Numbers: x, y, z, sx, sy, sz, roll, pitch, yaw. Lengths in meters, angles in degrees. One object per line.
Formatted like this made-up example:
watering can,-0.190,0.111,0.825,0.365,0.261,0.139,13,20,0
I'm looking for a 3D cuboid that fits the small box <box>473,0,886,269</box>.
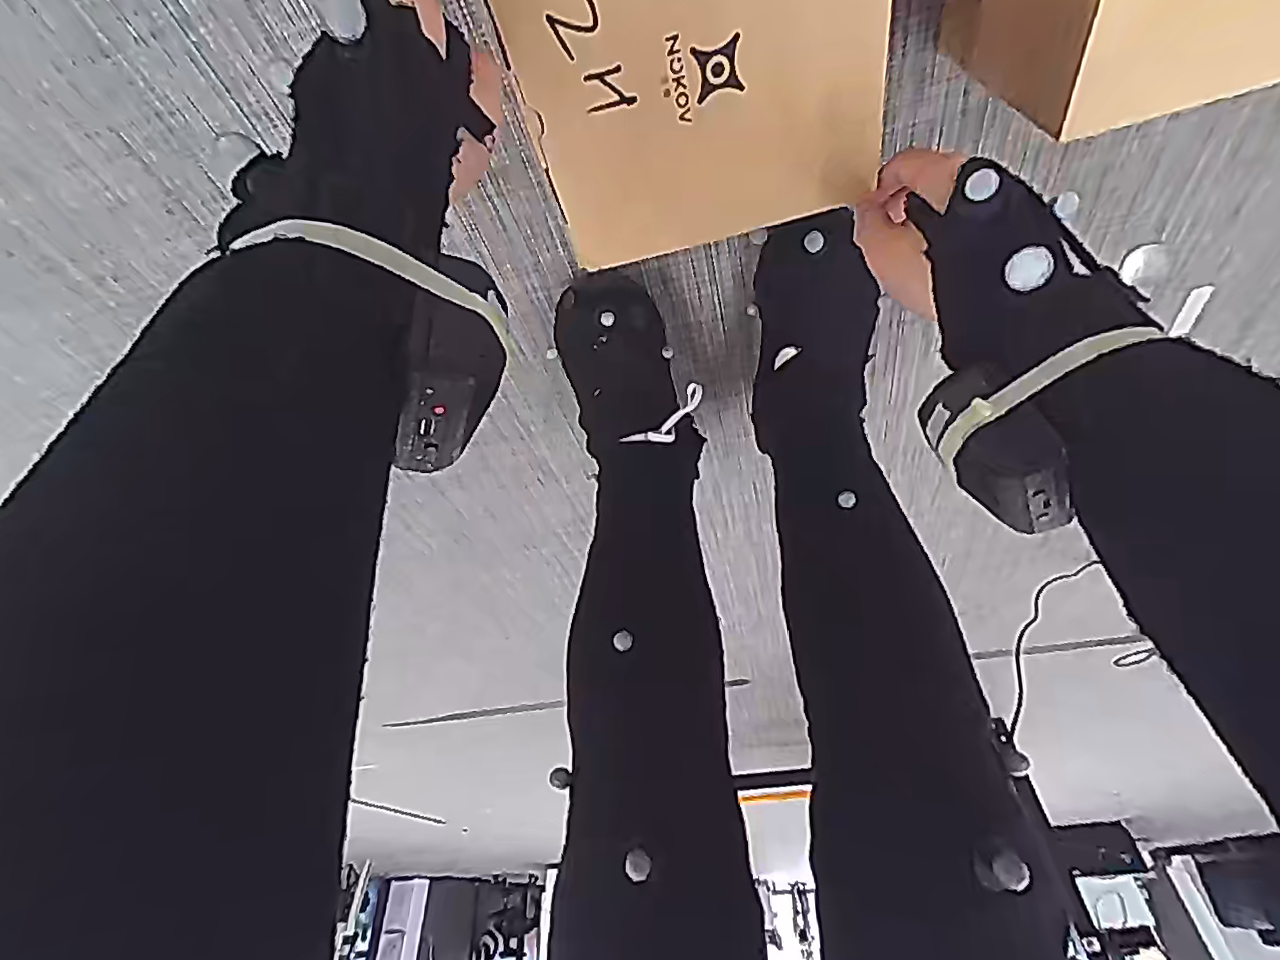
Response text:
small box,0.020,-0.253,0.299,0.179,0.176,0.168,-11,140,9
